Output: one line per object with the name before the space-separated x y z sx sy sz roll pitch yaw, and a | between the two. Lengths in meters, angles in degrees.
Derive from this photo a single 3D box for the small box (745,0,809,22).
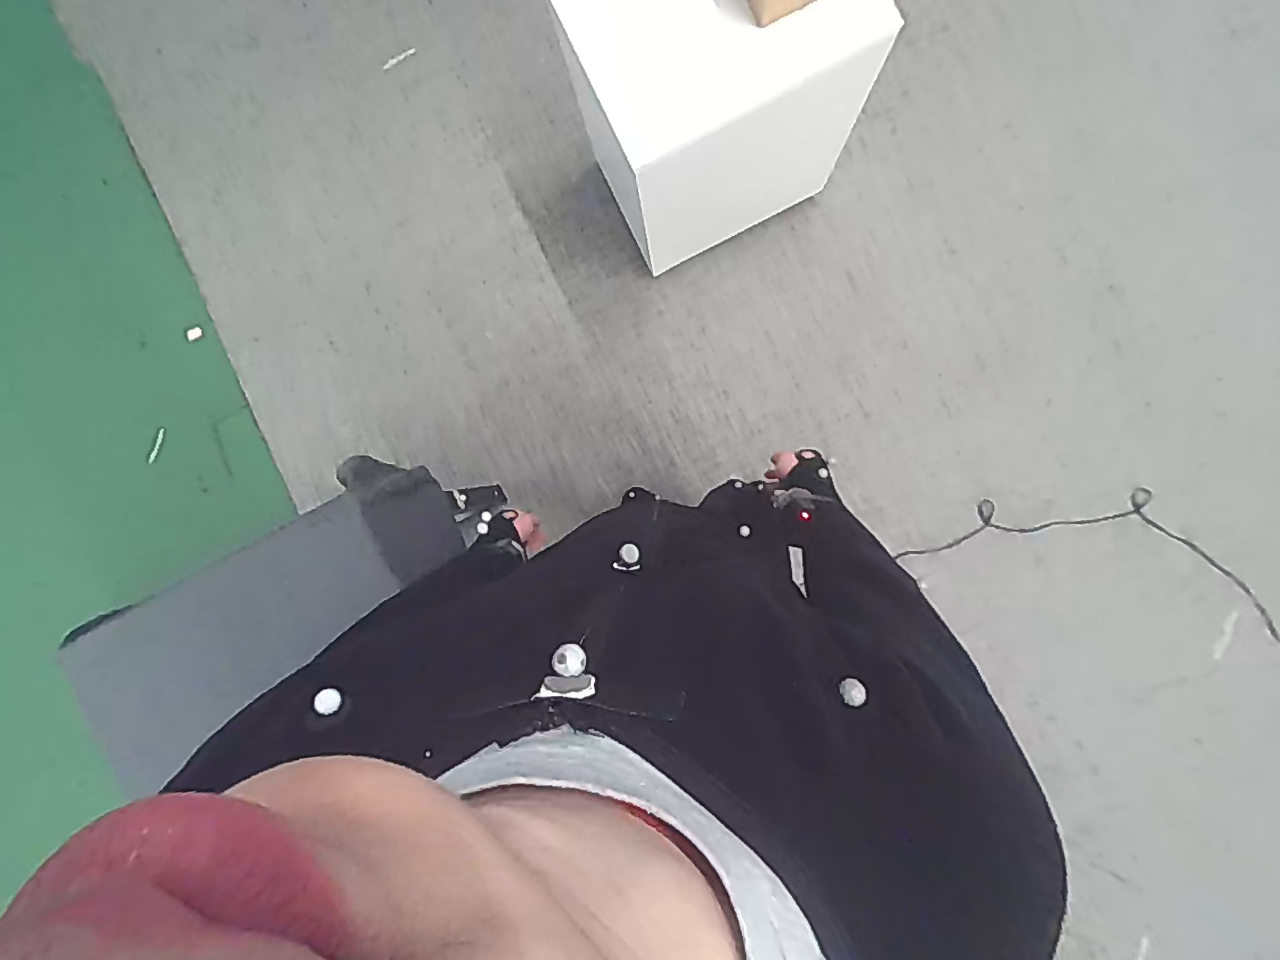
small box | 0.240 -0.875 0.830 0.179 0.176 0.168 -24 90 5
